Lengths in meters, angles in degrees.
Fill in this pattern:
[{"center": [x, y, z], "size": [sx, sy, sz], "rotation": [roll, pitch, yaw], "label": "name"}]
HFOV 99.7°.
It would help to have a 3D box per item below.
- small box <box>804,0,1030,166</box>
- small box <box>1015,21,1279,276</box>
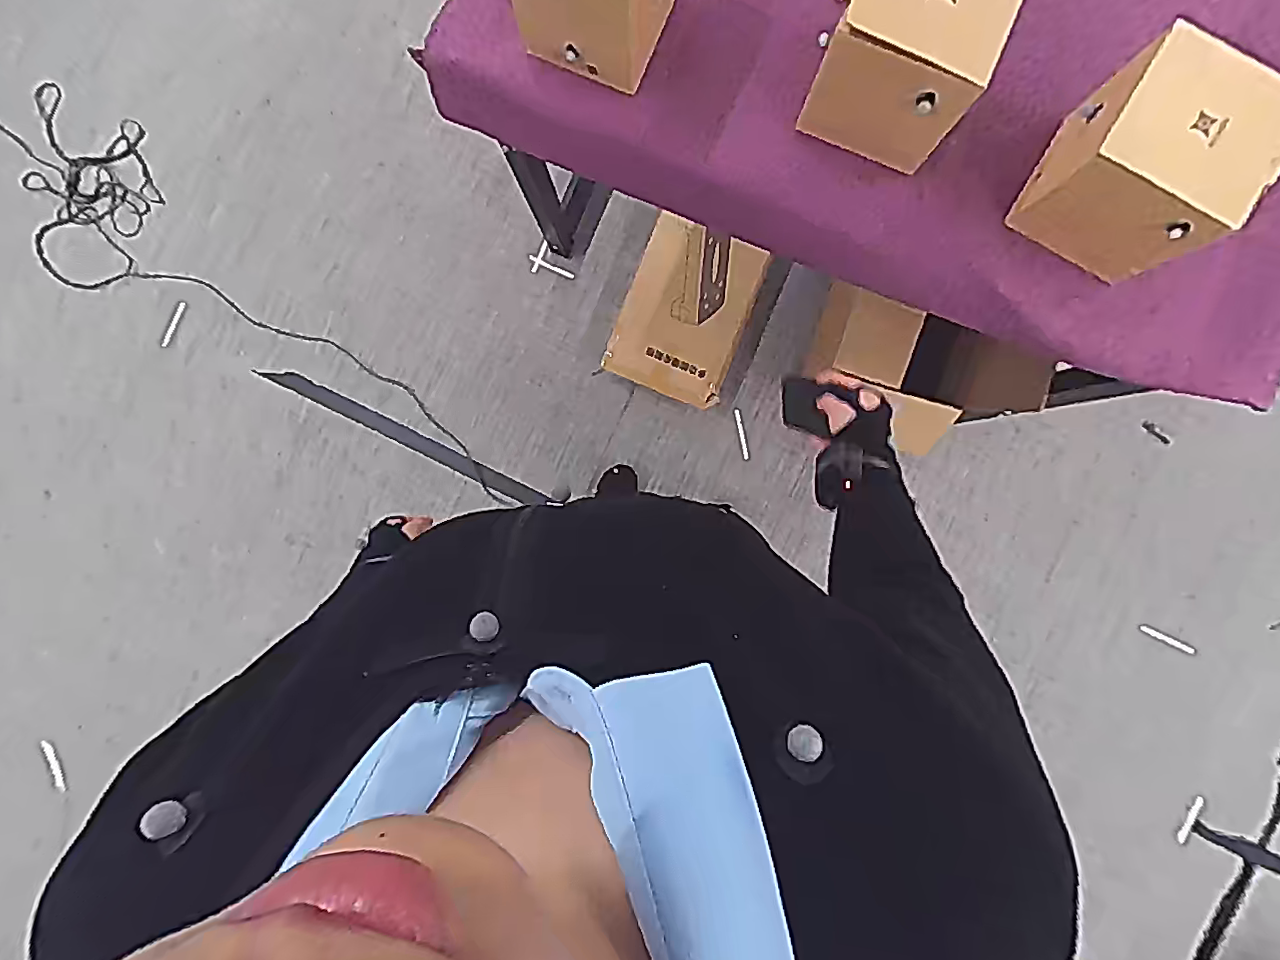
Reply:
[{"center": [0.329, -0.525, 0.659], "size": [0.179, 0.176, 0.168], "rotation": [23, 89, 1], "label": "small box"}, {"center": [0.612, -0.378, 0.654], "size": [0.179, 0.176, 0.168], "rotation": [30, 92, 1], "label": "small box"}]
